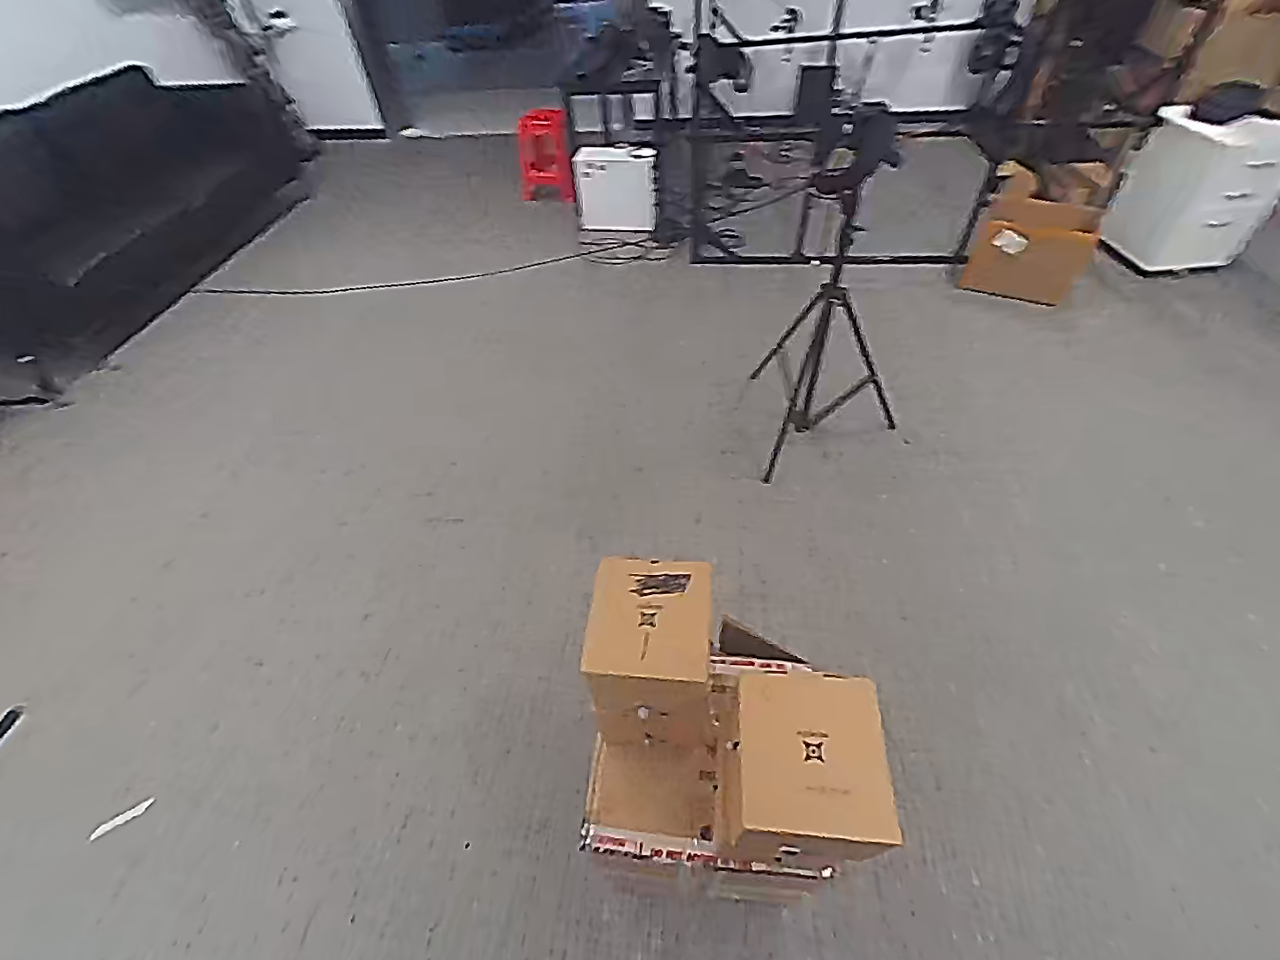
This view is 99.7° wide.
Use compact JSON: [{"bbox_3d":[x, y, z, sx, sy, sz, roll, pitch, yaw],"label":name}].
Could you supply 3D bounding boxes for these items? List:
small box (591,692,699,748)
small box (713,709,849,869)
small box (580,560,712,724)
[{"bbox_3d":[0.017,0.341,0.926,0.168,0.176,0.179,-1,50,6],"label":"small box"},{"bbox_3d":[0.199,0.463,0.807,0.168,0.176,0.179,3,50,5],"label":"small box"},{"bbox_3d":[0.018,0.238,0.796,0.168,0.176,0.179,2,51,8],"label":"small box"}]
